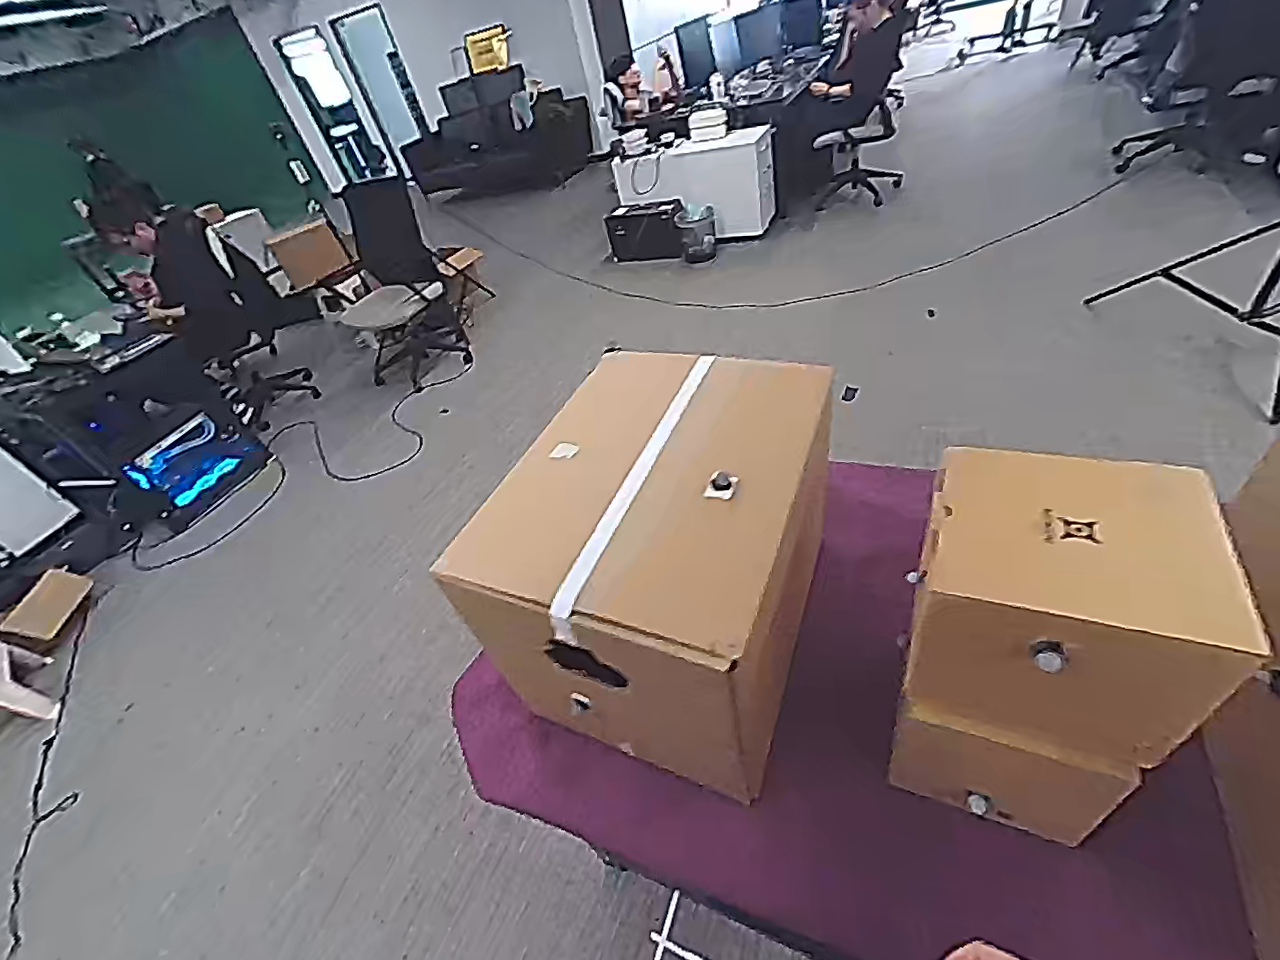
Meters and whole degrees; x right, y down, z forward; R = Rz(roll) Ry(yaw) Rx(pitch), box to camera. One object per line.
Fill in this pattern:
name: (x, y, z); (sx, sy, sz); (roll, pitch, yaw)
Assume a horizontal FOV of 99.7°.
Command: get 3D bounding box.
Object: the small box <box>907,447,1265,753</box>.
small box: (0.332, 0.095, 0.446); (0.179, 0.176, 0.168); (8, 46, 27)
